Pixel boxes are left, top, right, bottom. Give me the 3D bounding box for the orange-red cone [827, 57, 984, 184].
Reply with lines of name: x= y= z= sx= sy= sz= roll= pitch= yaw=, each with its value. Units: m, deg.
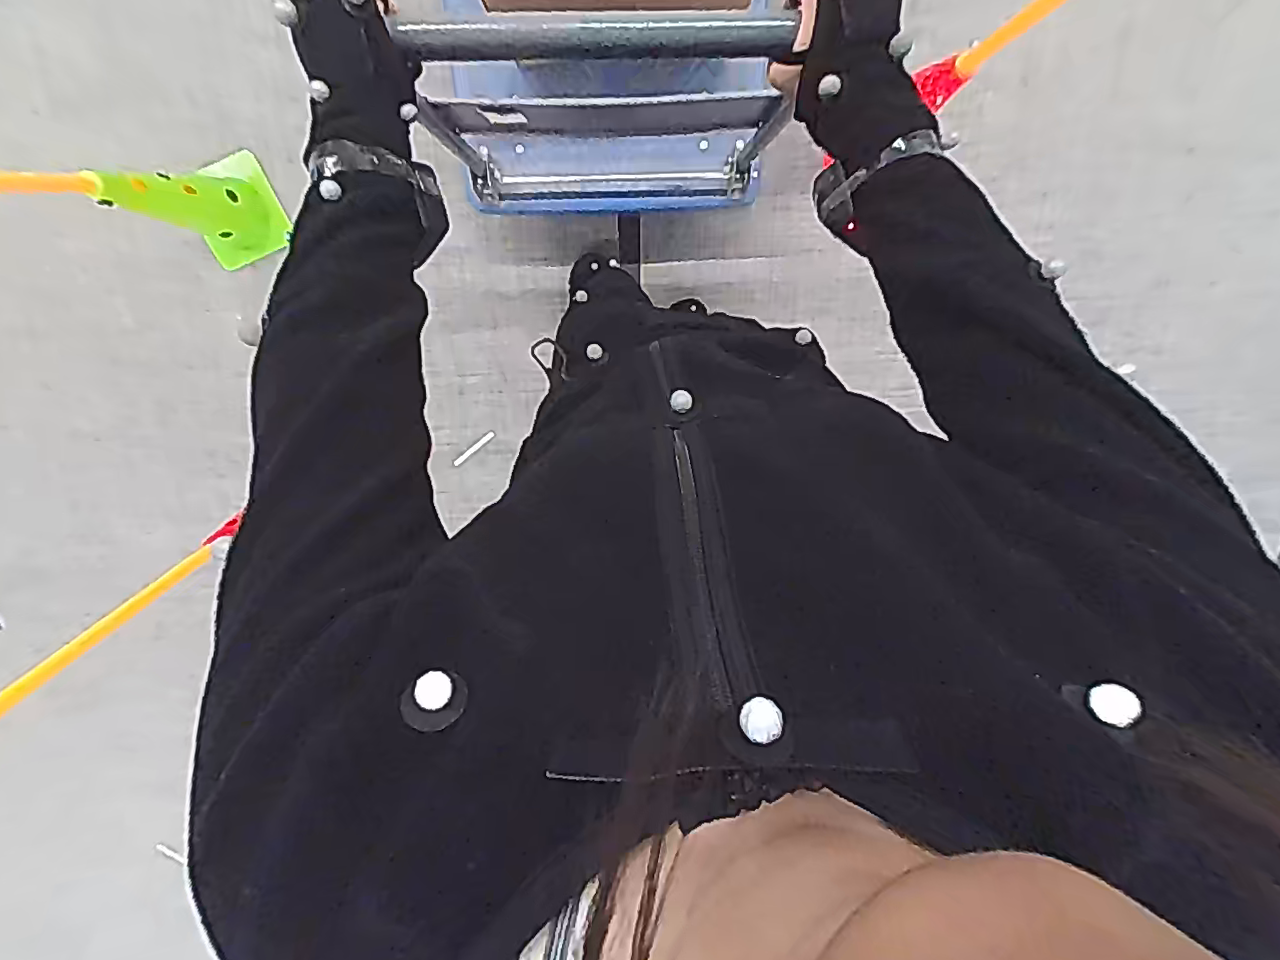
orange-red cone: x=0.526 y=-0.709 z=1.020 sx=0.199 sy=0.360 sz=0.198 roll=4 pitch=109 yaw=-3
